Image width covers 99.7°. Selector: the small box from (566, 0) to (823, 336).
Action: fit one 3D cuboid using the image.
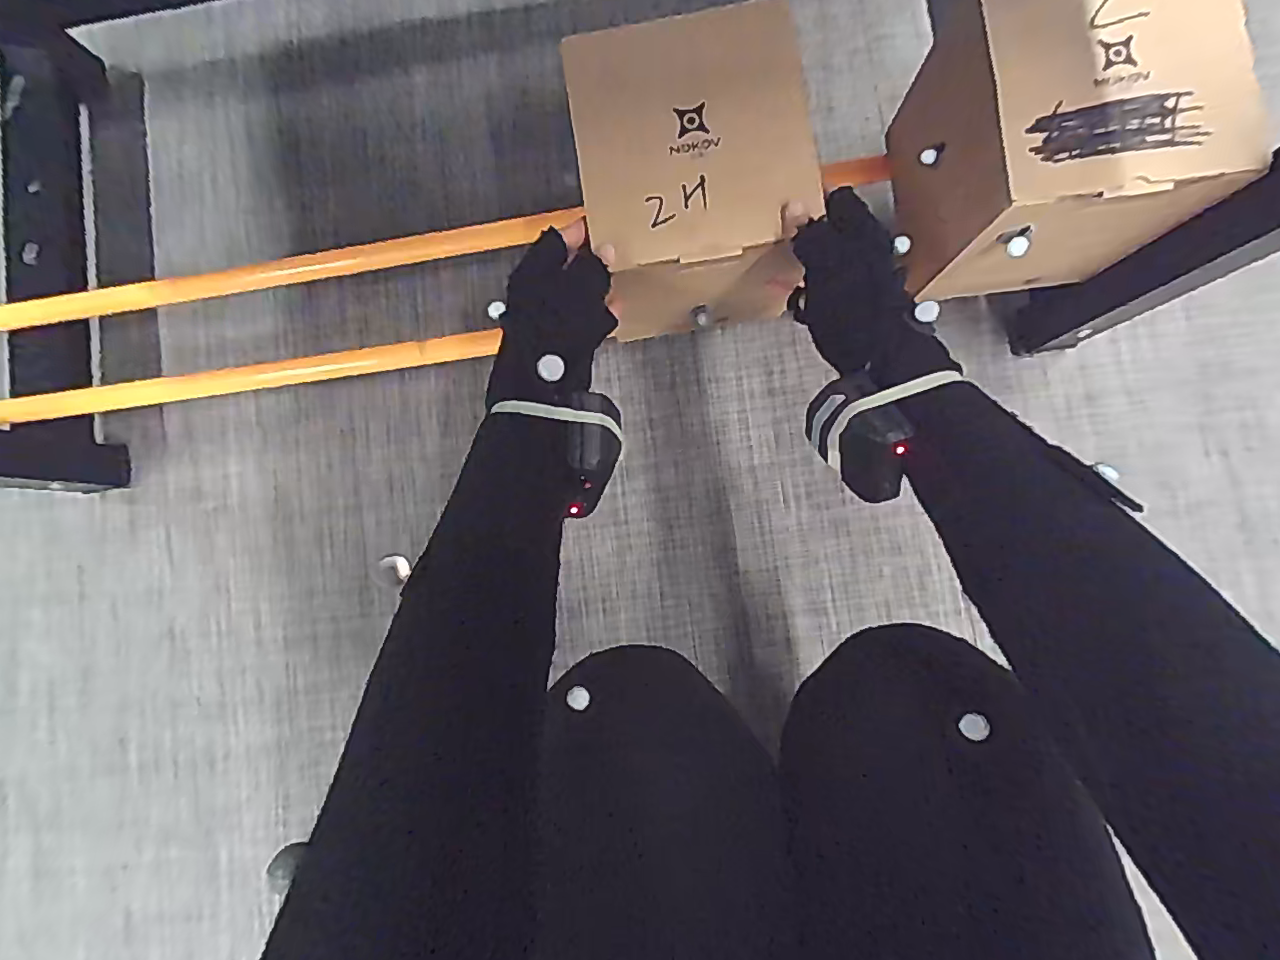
[{"bbox_3d":[0.041,-0.244,0.465,0.168,0.176,0.179,-9,87,4],"label":"small box"}]
